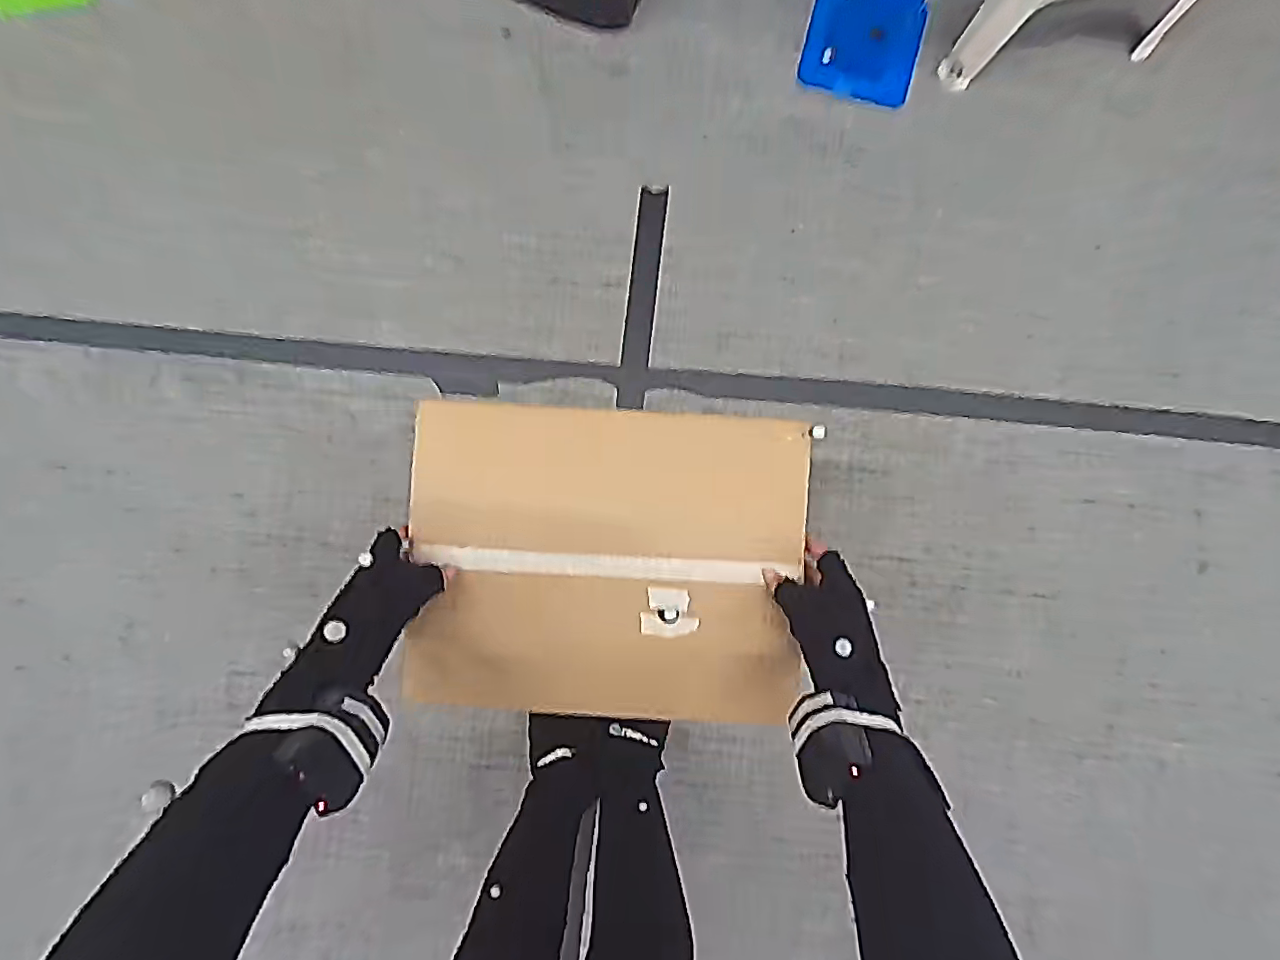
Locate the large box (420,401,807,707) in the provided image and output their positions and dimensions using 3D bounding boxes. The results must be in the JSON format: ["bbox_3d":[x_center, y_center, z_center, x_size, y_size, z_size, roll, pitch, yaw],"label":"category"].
[{"bbox_3d":[-0.030,0.080,0.715,0.408,0.320,0.320,3,90,0],"label":"large box"}]
